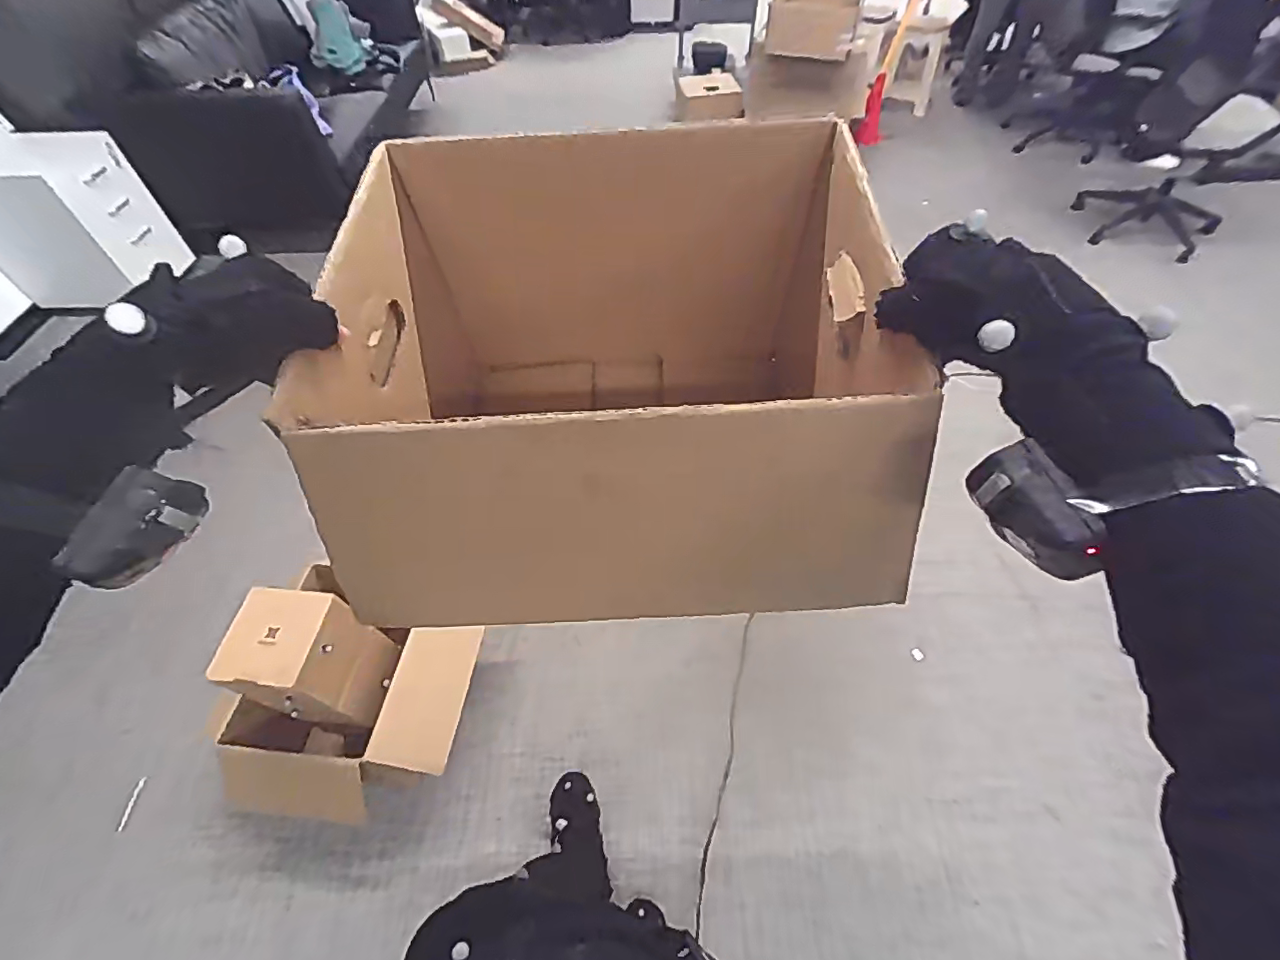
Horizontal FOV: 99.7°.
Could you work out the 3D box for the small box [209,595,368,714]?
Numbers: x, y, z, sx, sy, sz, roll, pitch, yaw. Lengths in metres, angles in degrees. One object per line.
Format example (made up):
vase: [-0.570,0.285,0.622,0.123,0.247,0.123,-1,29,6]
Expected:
small box: [-0.656,0.339,1.039,0.168,0.176,0.179,3,55,3]
